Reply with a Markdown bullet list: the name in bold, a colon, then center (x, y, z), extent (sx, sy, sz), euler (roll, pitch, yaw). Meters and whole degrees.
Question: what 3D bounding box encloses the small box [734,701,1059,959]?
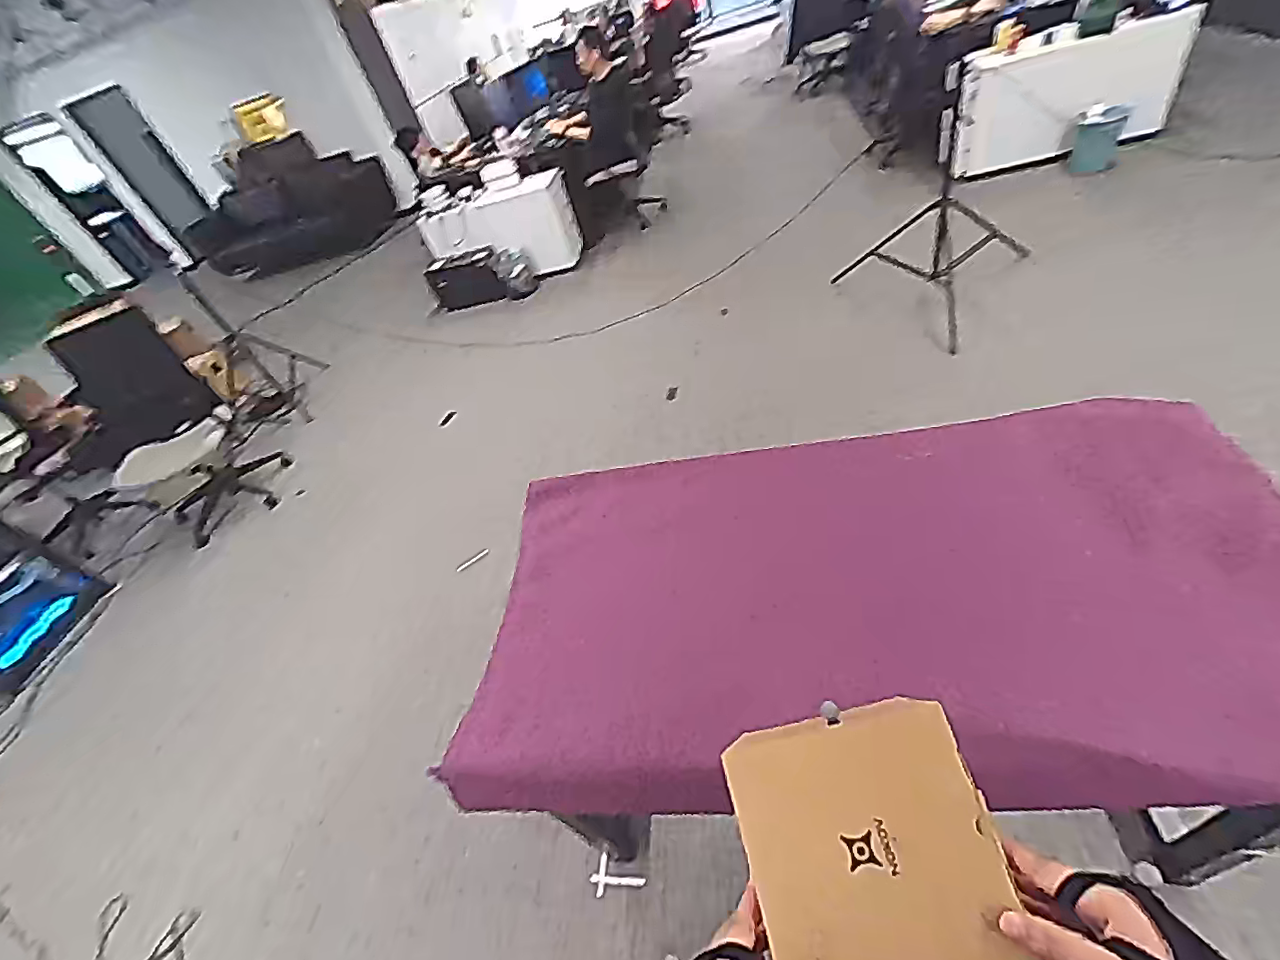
- **small box**: center (0.192, 0.293, 0.460), extent (0.179, 0.176, 0.168), euler (-16, 65, 8)
